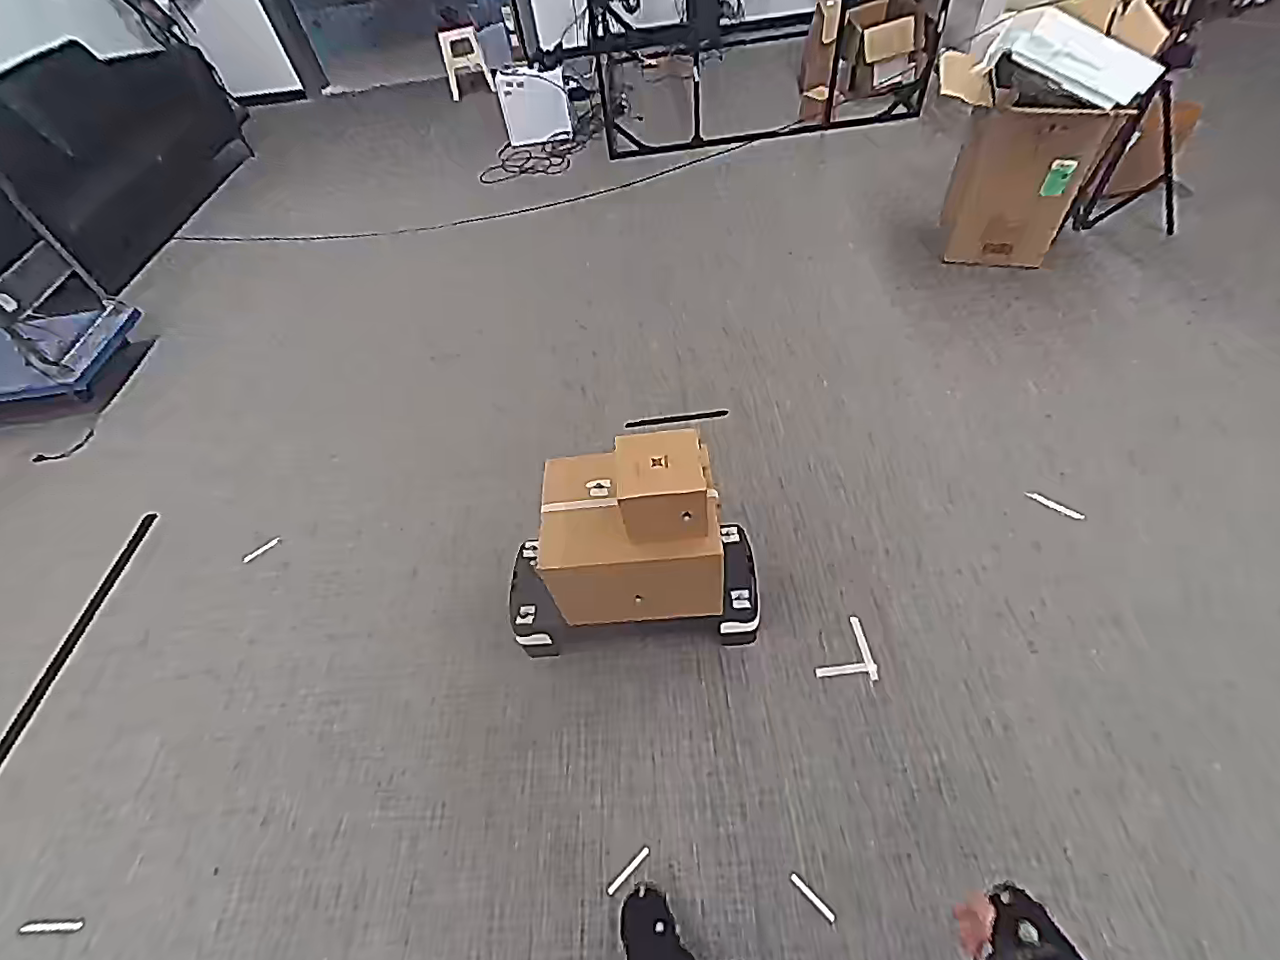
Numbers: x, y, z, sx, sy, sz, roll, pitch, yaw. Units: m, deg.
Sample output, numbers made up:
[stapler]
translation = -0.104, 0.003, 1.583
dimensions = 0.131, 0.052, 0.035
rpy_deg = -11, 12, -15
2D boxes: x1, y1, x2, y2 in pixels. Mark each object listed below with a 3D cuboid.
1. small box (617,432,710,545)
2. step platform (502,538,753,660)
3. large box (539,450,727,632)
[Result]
[small box]
translation = 0.050, 0.022, 1.129
dimensions = 0.179, 0.176, 0.168
rpy_deg = -6, 52, 4
[step platform]
translation = -0.032, 0.328, 1.519
dimensions = 0.684, 0.204, 0.286
rpy_deg = -2, 51, 8
[large box]
translation = -0.006, 0.161, 1.342
dimensions = 0.408, 0.320, 0.320
rpy_deg = -7, 50, 4
